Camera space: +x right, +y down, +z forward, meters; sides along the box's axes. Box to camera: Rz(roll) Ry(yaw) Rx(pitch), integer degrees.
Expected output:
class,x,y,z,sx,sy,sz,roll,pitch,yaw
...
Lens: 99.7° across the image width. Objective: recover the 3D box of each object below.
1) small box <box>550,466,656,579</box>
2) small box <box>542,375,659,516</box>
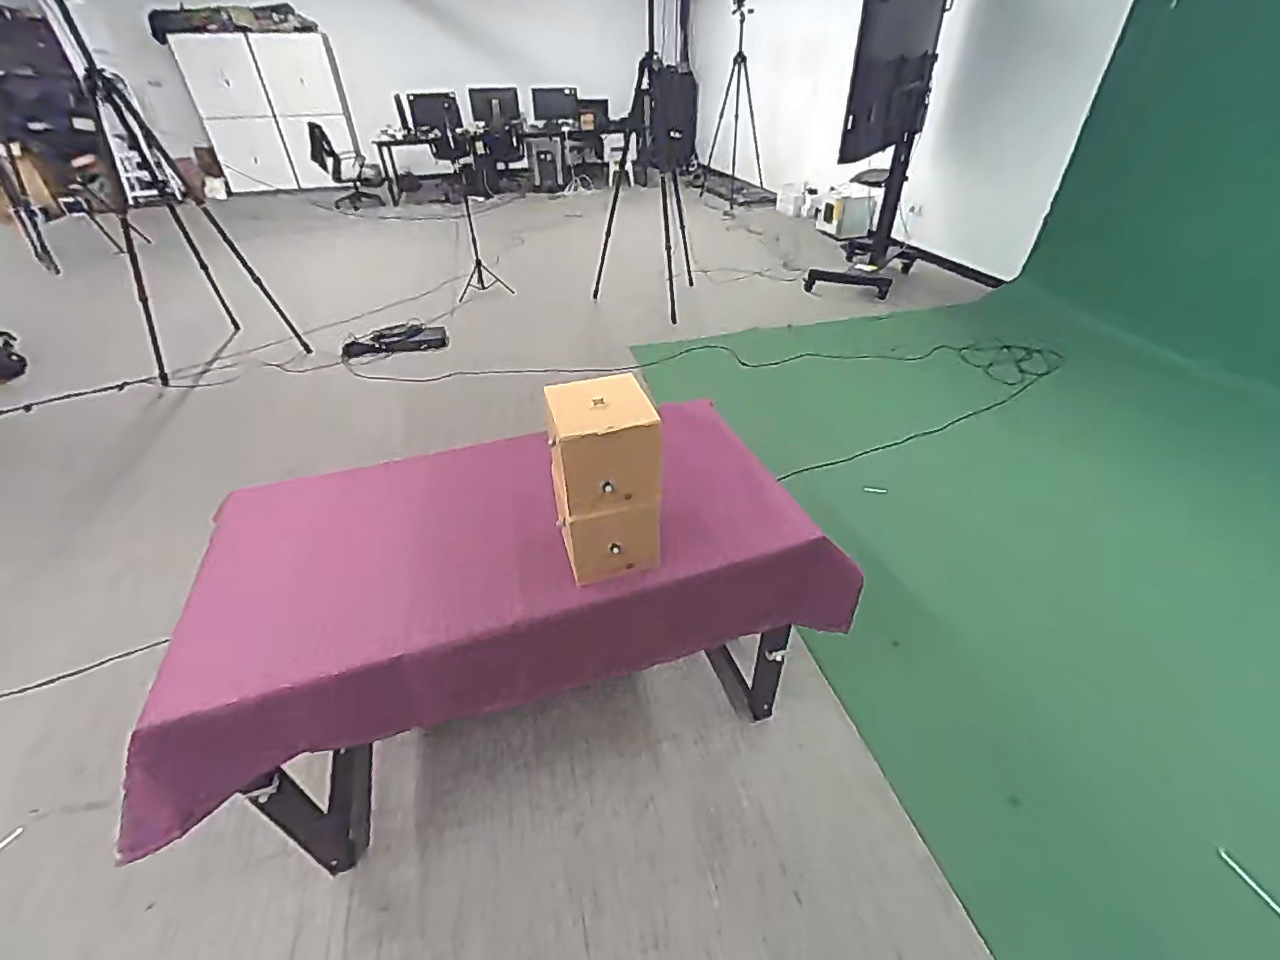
class,x,y,z,sx,sy,sz,roll,pitch,yaw
small box,-0.070,0.071,1.045,0.168,0.176,0.179,-12,39,-13
small box,-0.071,-0.063,0.951,0.168,0.176,0.179,-12,40,-13
